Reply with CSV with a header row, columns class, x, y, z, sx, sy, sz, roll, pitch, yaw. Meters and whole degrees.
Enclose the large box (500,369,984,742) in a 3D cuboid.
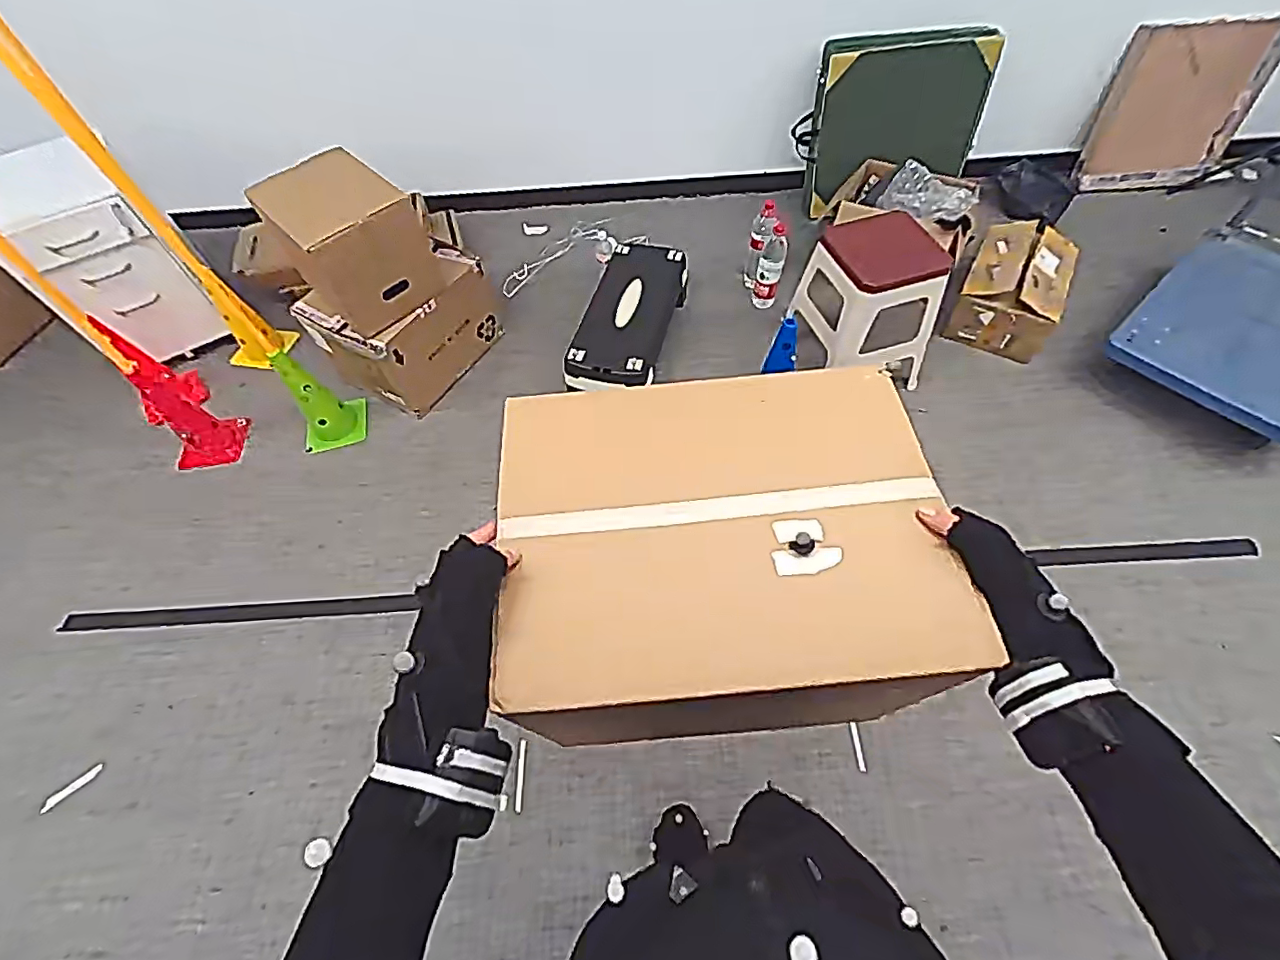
class,x,y,z,sx,sy,sz,roll,pitch,yaw
large box,0.075,0.105,0.637,0.408,0.320,0.320,-5,59,0
